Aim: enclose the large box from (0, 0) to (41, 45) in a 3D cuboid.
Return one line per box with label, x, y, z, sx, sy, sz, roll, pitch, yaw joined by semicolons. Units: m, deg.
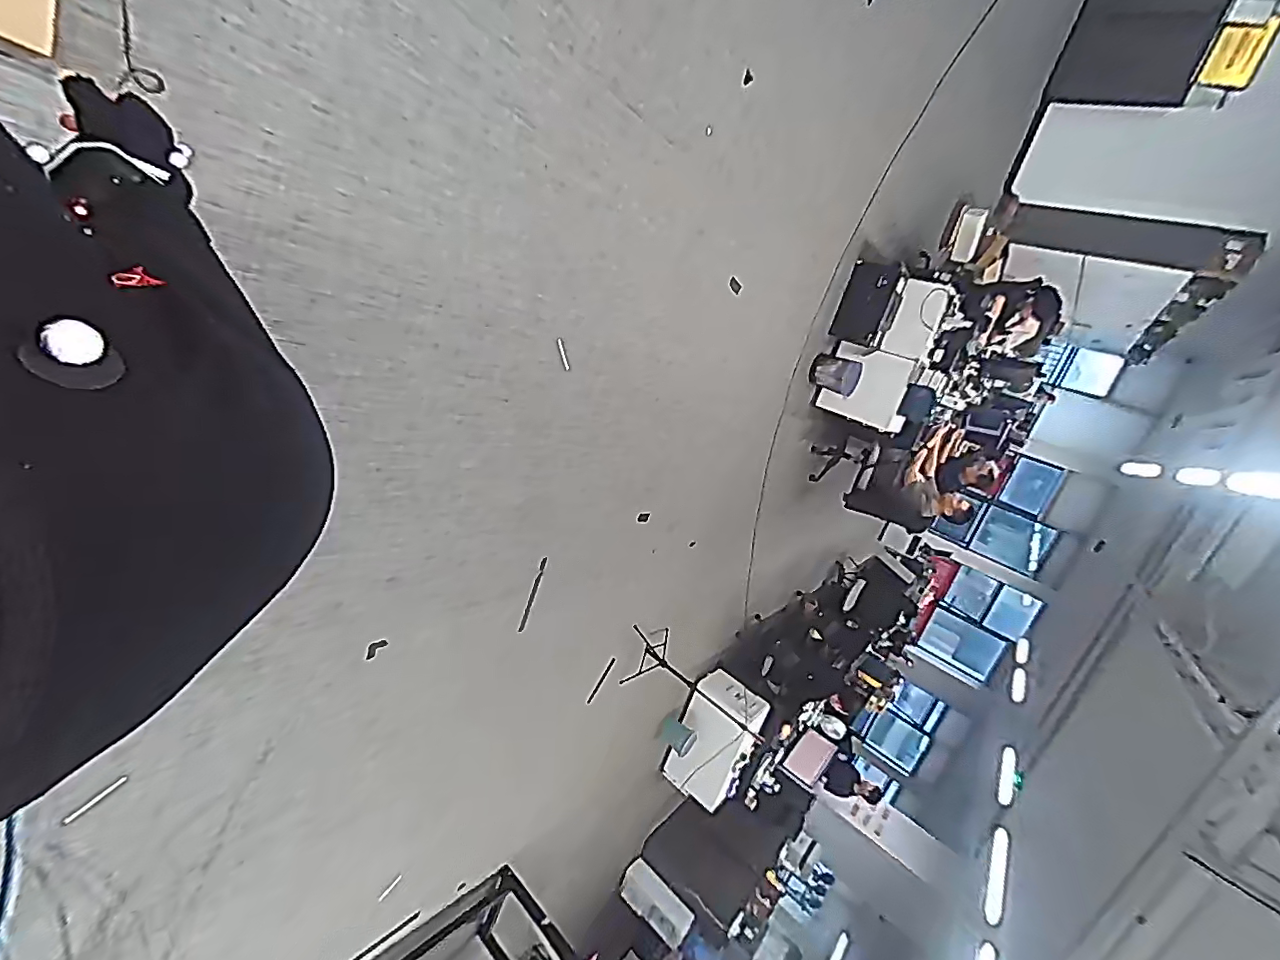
large box;-0.972;-0.771;0.599;0.408;0.320;0.320;1;112;-54
